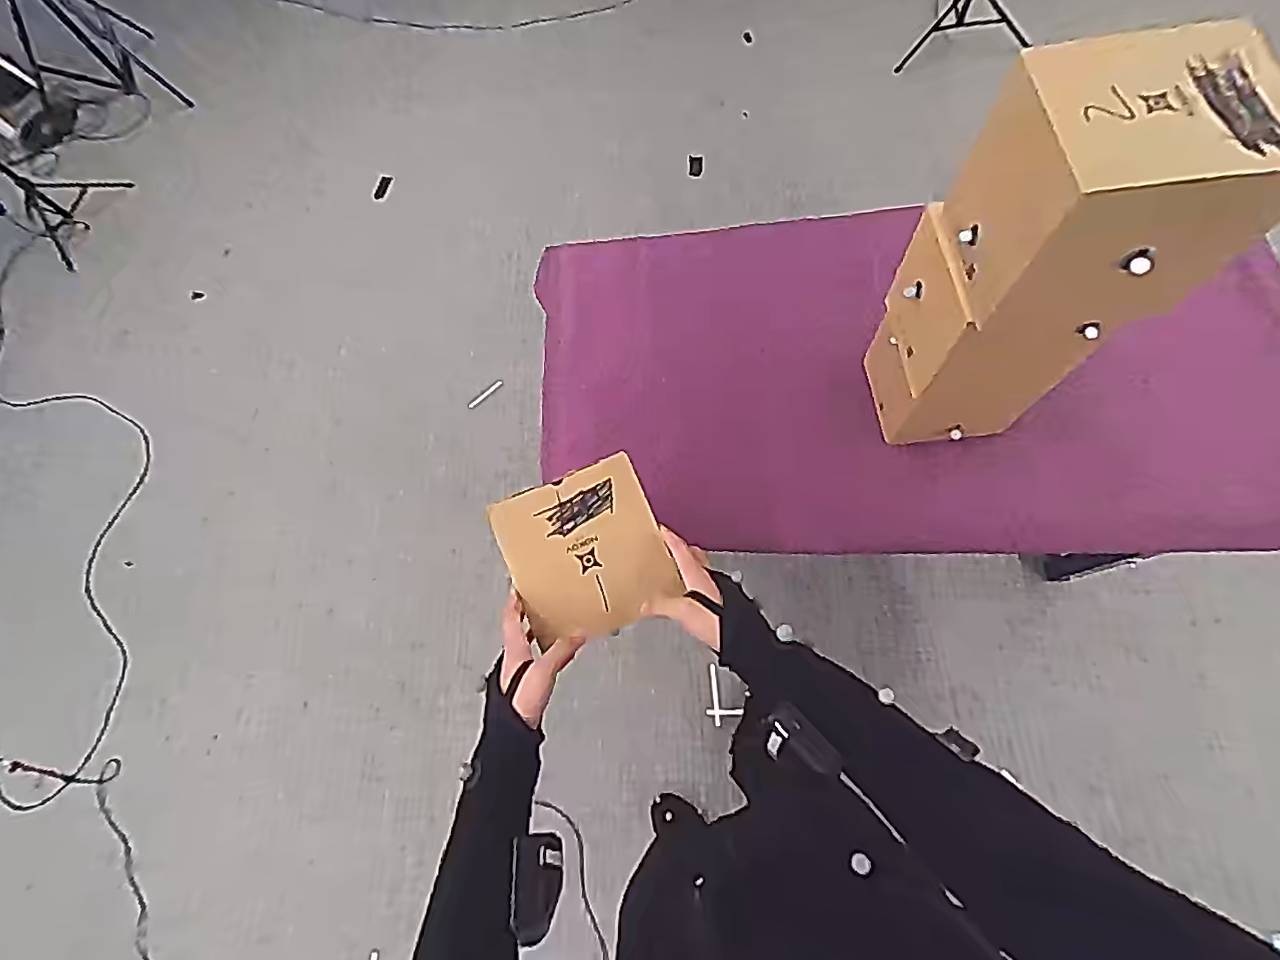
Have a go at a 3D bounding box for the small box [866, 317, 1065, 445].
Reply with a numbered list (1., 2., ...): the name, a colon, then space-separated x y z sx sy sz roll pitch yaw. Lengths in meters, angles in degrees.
1. small box: 0.458 -0.165 0.793 0.179 0.176 0.168 -6 68 4

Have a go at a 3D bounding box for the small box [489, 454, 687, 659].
1. small box: -0.062 0.092 0.653 0.168 0.176 0.179 -23 83 -7

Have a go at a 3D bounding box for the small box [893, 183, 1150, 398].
1. small box: 0.420 -0.210 0.640 0.179 0.176 0.168 -6 68 5
